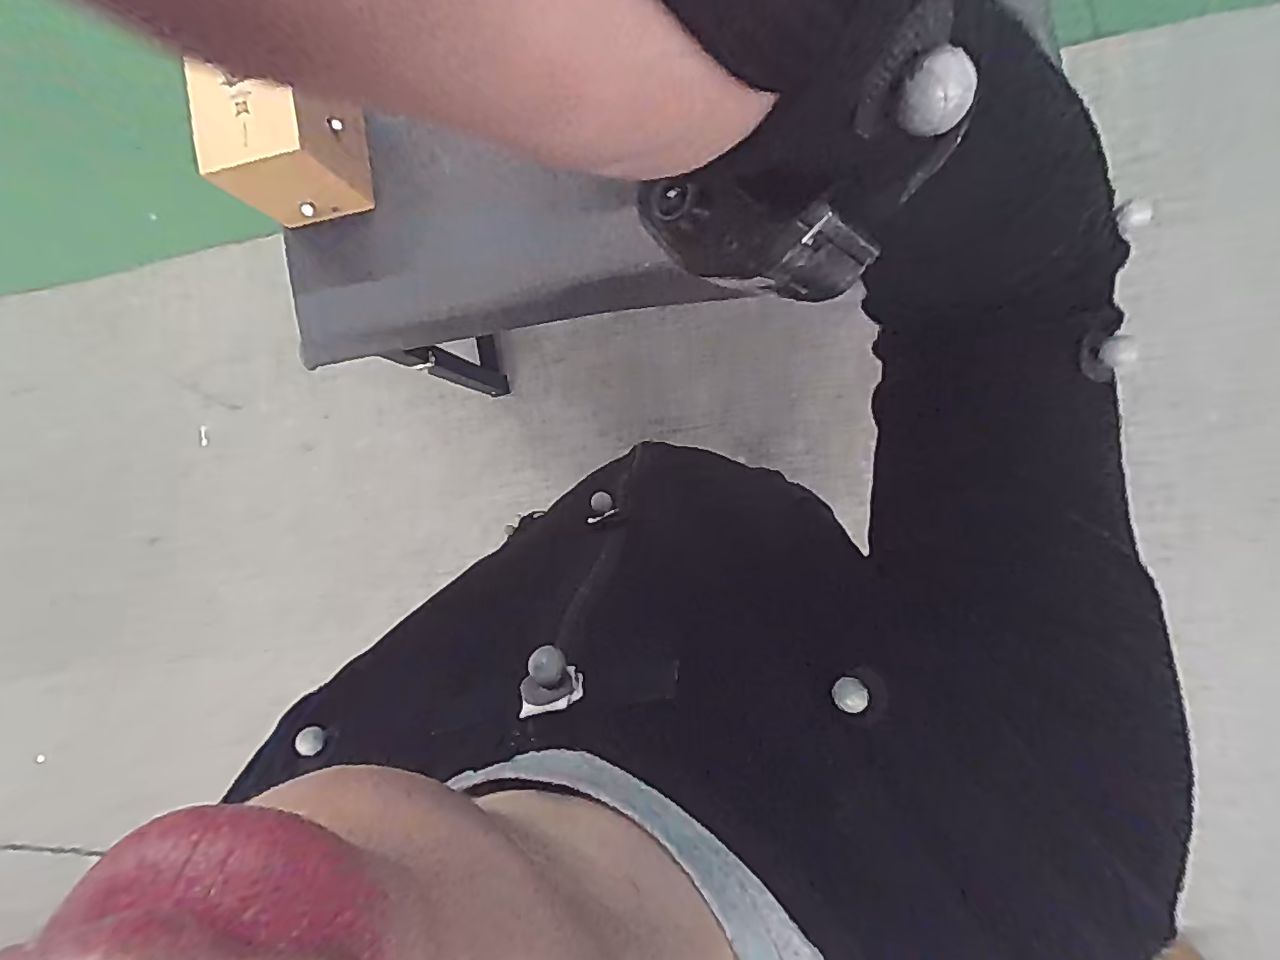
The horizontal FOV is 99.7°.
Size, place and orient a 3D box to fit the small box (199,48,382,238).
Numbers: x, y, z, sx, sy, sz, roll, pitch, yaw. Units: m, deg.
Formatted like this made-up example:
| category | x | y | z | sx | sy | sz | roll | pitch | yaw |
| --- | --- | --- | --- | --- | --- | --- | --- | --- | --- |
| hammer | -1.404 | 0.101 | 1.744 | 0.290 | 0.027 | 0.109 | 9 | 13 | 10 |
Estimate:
| category | x | y | z | sx | sy | sz | roll | pitch | yaw |
| --- | --- | --- | --- | --- | --- | --- | --- | --- | --- |
| small box | -0.538 | -0.515 | 0.852 | 0.168 | 0.176 | 0.179 | -9 | 89 | 9 |
